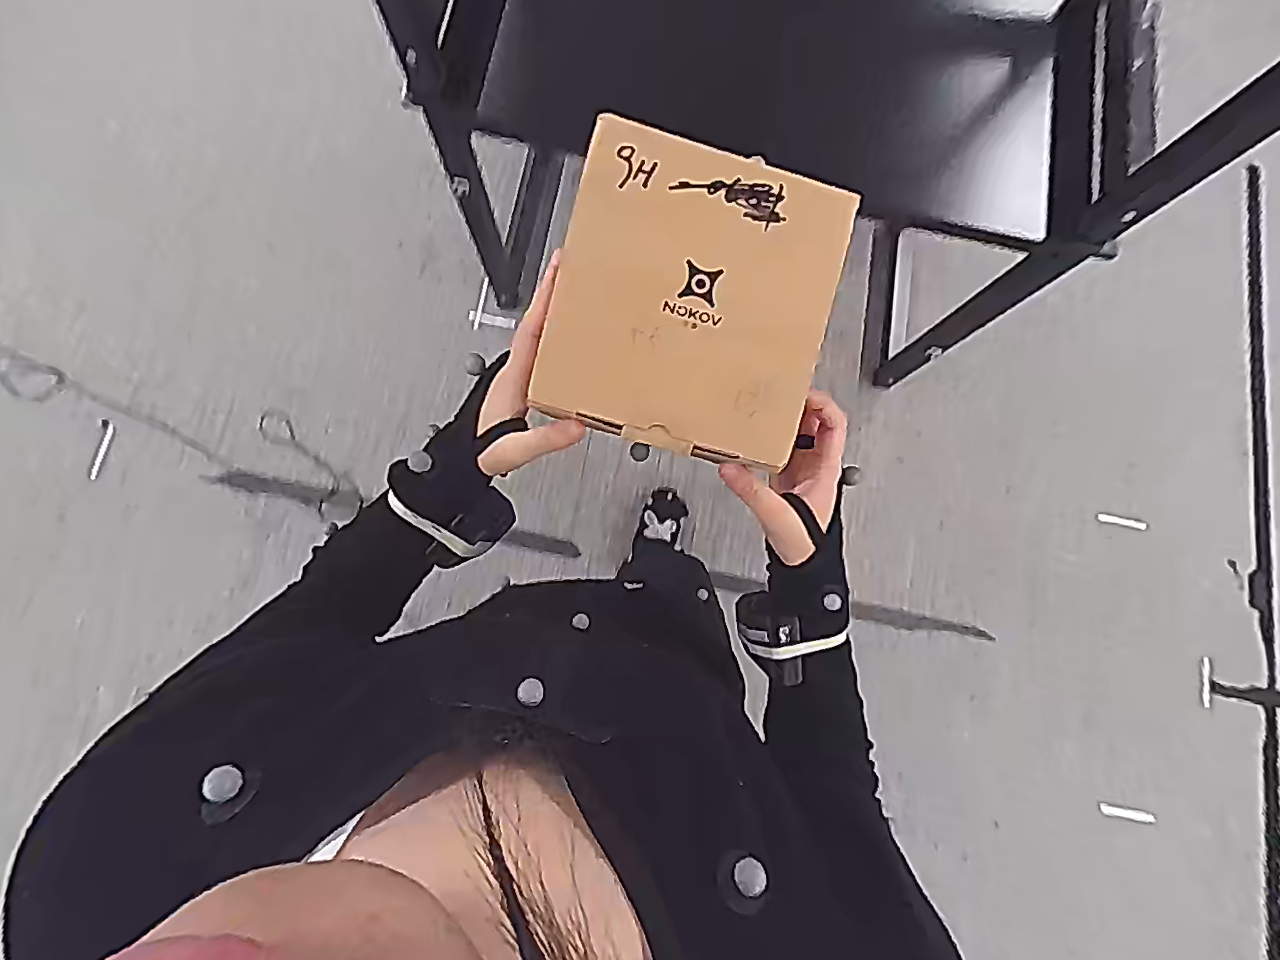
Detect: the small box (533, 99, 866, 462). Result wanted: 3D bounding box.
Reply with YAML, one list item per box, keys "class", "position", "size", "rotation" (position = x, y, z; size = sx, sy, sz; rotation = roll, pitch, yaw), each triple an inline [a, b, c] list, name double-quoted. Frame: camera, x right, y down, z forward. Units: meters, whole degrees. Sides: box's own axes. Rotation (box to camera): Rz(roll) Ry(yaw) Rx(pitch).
- class: "small box"
  position: [0.030, -0.122, 0.400]
  size: [0.168, 0.176, 0.179]
  rotation: [15, 94, -6]
